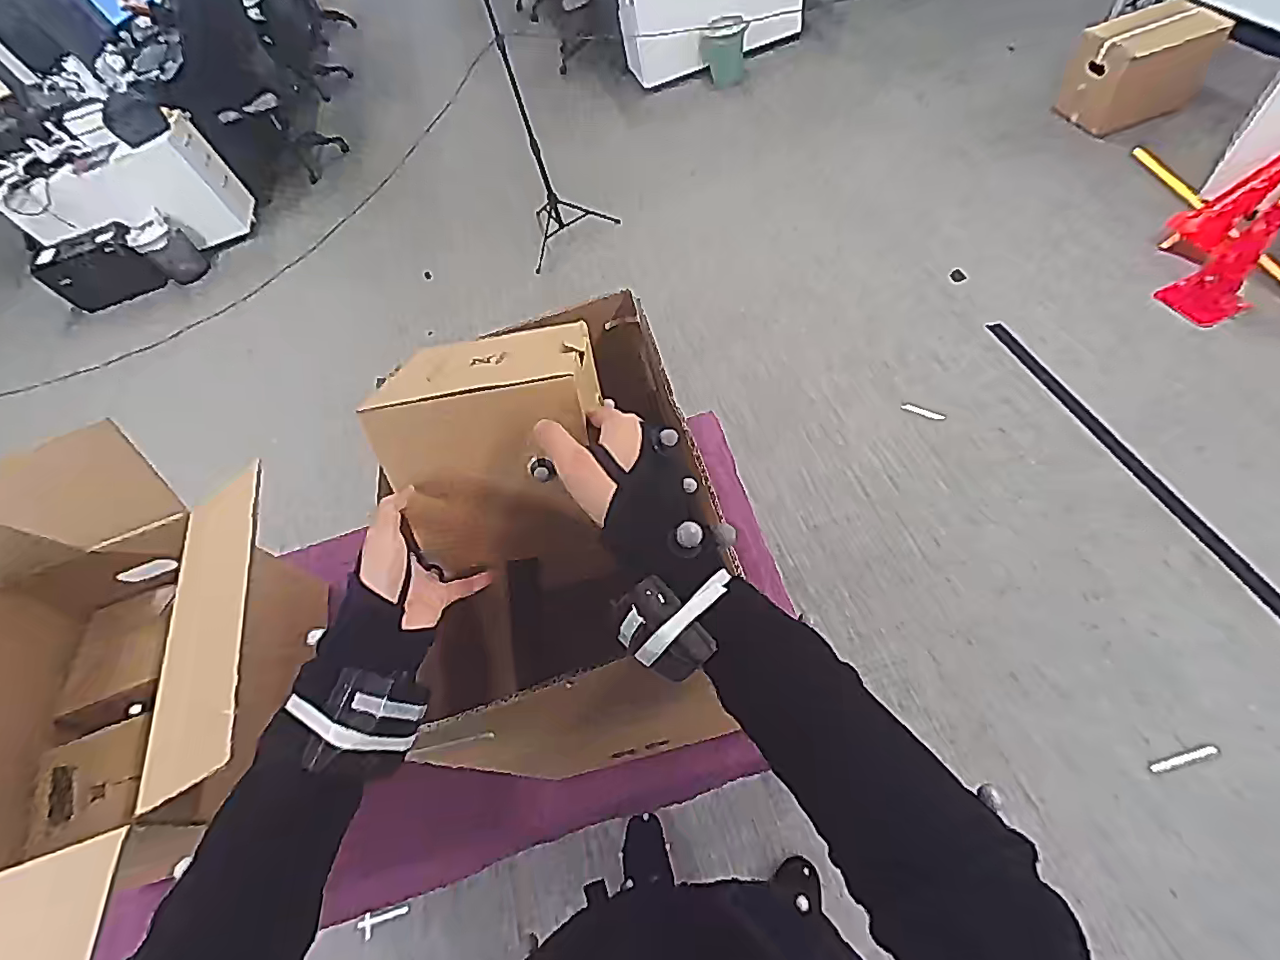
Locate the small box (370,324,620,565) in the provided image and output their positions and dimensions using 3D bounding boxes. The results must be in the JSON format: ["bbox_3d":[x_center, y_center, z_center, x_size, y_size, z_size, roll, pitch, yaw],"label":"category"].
[{"bbox_3d":[-0.120,-0.038,0.537,0.179,0.176,0.168,-10,28,5],"label":"small box"}]
